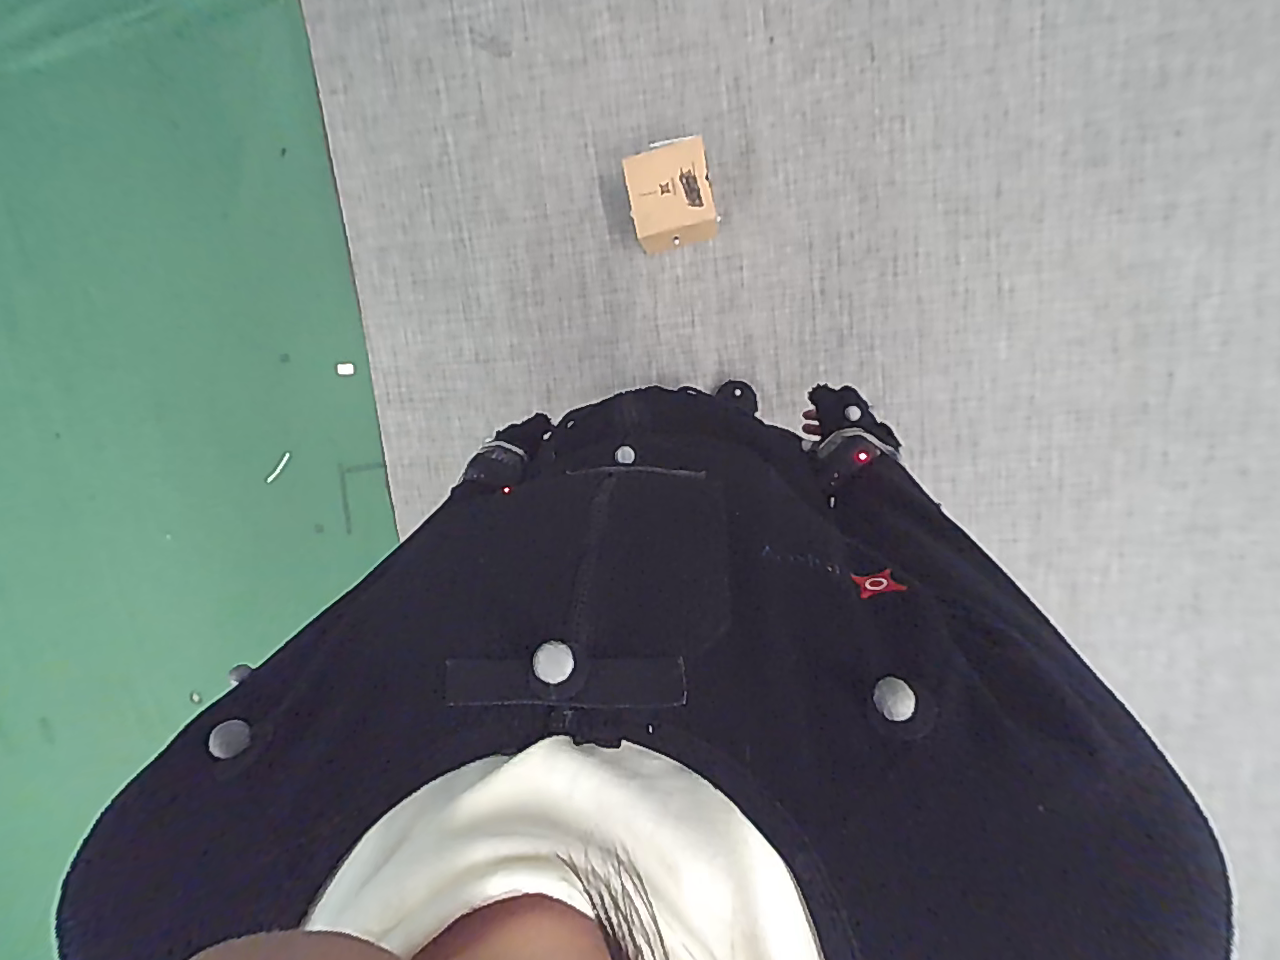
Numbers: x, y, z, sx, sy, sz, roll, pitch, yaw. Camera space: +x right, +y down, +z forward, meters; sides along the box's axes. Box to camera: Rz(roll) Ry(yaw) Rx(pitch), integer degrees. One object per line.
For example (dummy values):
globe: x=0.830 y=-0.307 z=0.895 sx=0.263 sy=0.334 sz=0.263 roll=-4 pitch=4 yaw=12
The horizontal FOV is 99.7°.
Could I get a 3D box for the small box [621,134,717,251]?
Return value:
small box: x=0.069 y=-0.643 z=1.230 sx=0.179 sy=0.176 sz=0.168 roll=-14 pitch=99 yaw=10
